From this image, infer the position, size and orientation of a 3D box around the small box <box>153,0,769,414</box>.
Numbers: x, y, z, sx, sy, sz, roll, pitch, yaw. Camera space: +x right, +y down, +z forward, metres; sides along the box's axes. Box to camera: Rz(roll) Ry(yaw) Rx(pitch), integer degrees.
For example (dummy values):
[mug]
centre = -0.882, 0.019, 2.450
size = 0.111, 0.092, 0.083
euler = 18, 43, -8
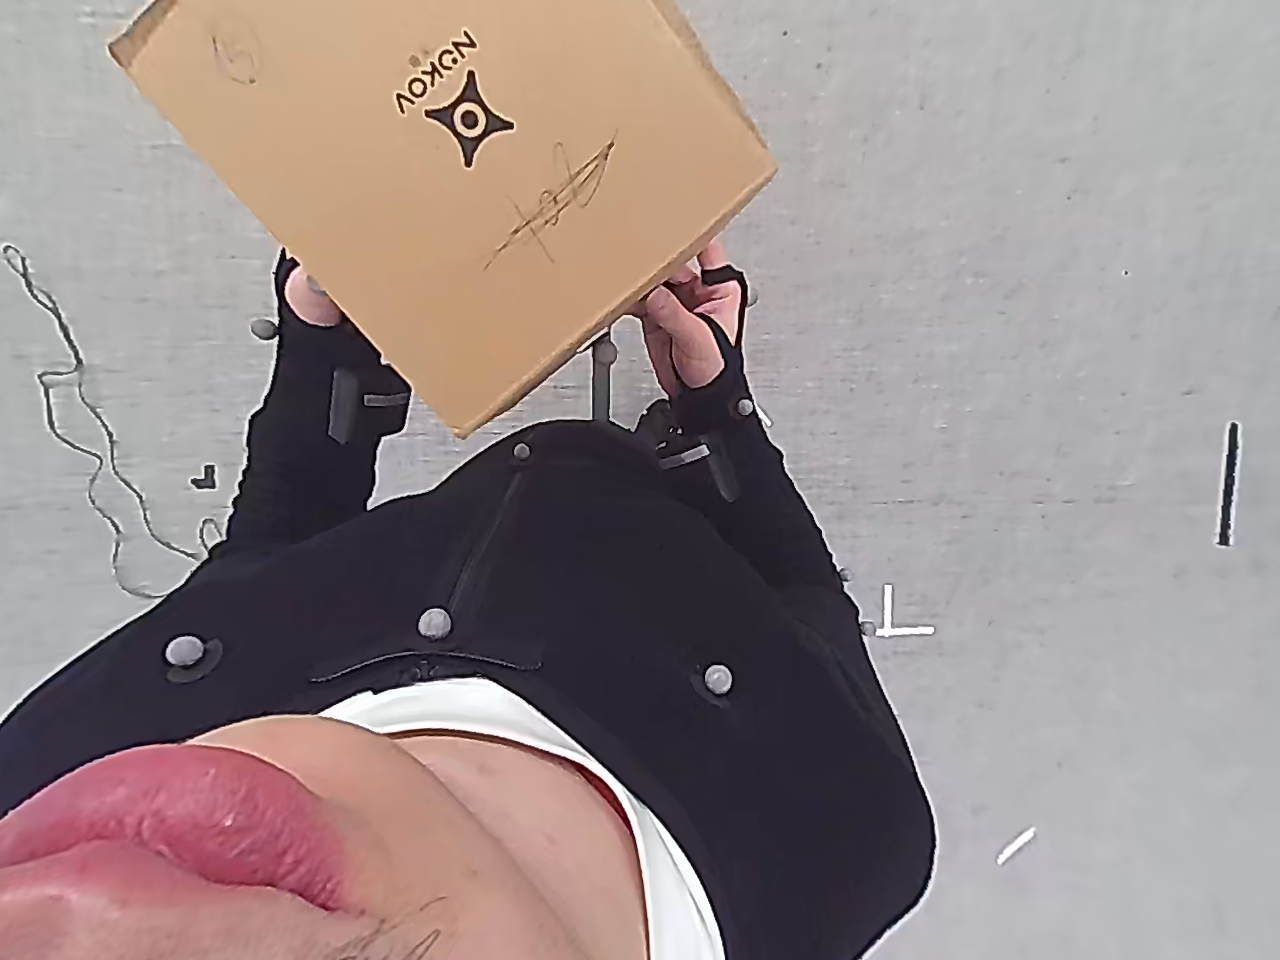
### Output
[small box]
centre = -0.069, -0.156, 0.285
size = 0.168, 0.176, 0.179
euler = -40, 103, 5
